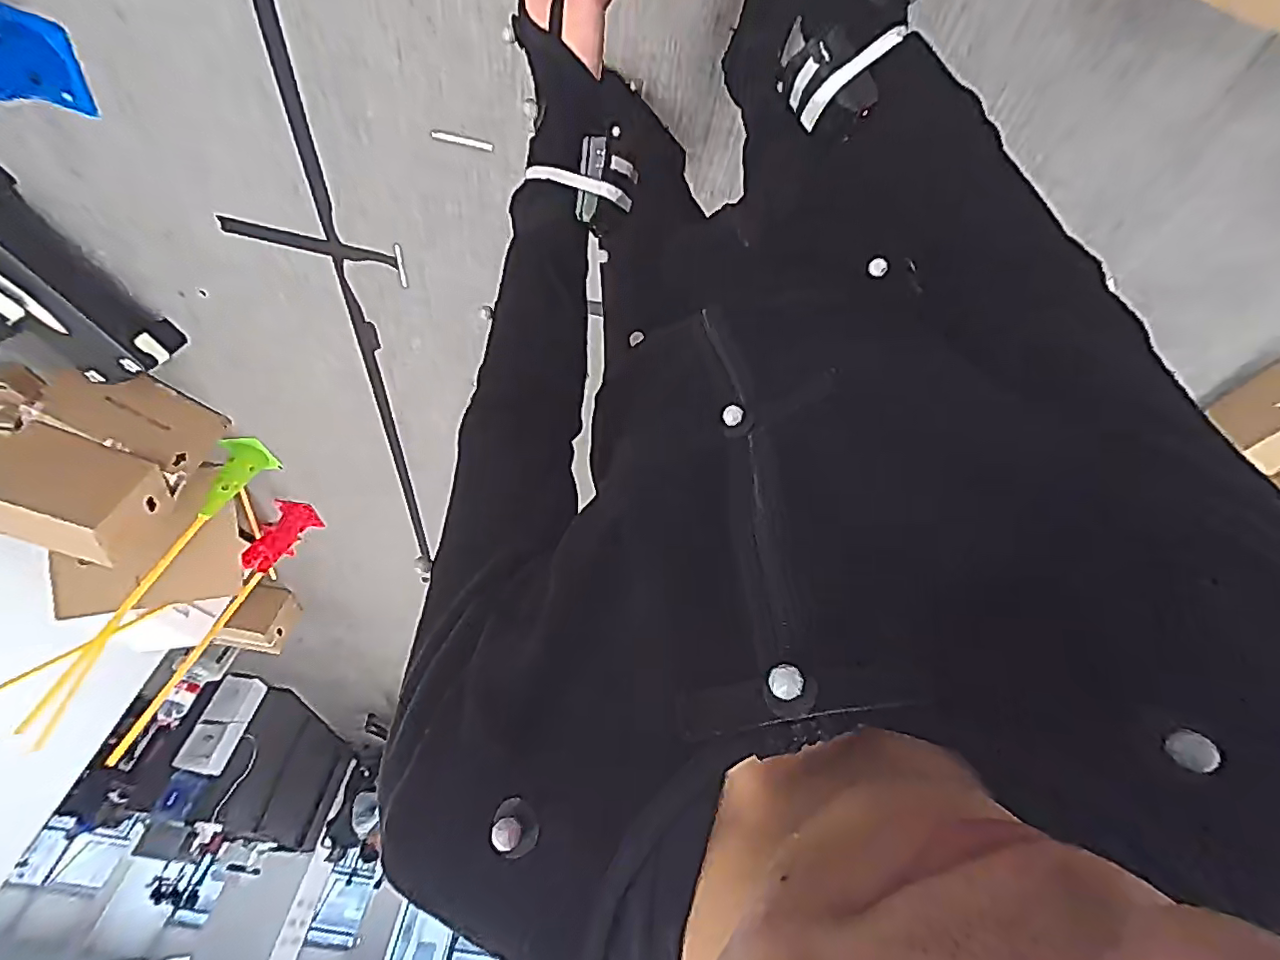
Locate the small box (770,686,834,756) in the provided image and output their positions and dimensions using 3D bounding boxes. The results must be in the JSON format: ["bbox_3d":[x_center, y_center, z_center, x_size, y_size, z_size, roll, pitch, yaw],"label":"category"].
[{"bbox_3d":[0.545,0.821,1.847,0.168,0.176,0.179,8,140,1],"label":"small box"}]

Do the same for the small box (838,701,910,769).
[{"bbox_3d":[0.802,0.882,1.872,0.179,0.176,0.168,5,139,5],"label":"small box"}]
